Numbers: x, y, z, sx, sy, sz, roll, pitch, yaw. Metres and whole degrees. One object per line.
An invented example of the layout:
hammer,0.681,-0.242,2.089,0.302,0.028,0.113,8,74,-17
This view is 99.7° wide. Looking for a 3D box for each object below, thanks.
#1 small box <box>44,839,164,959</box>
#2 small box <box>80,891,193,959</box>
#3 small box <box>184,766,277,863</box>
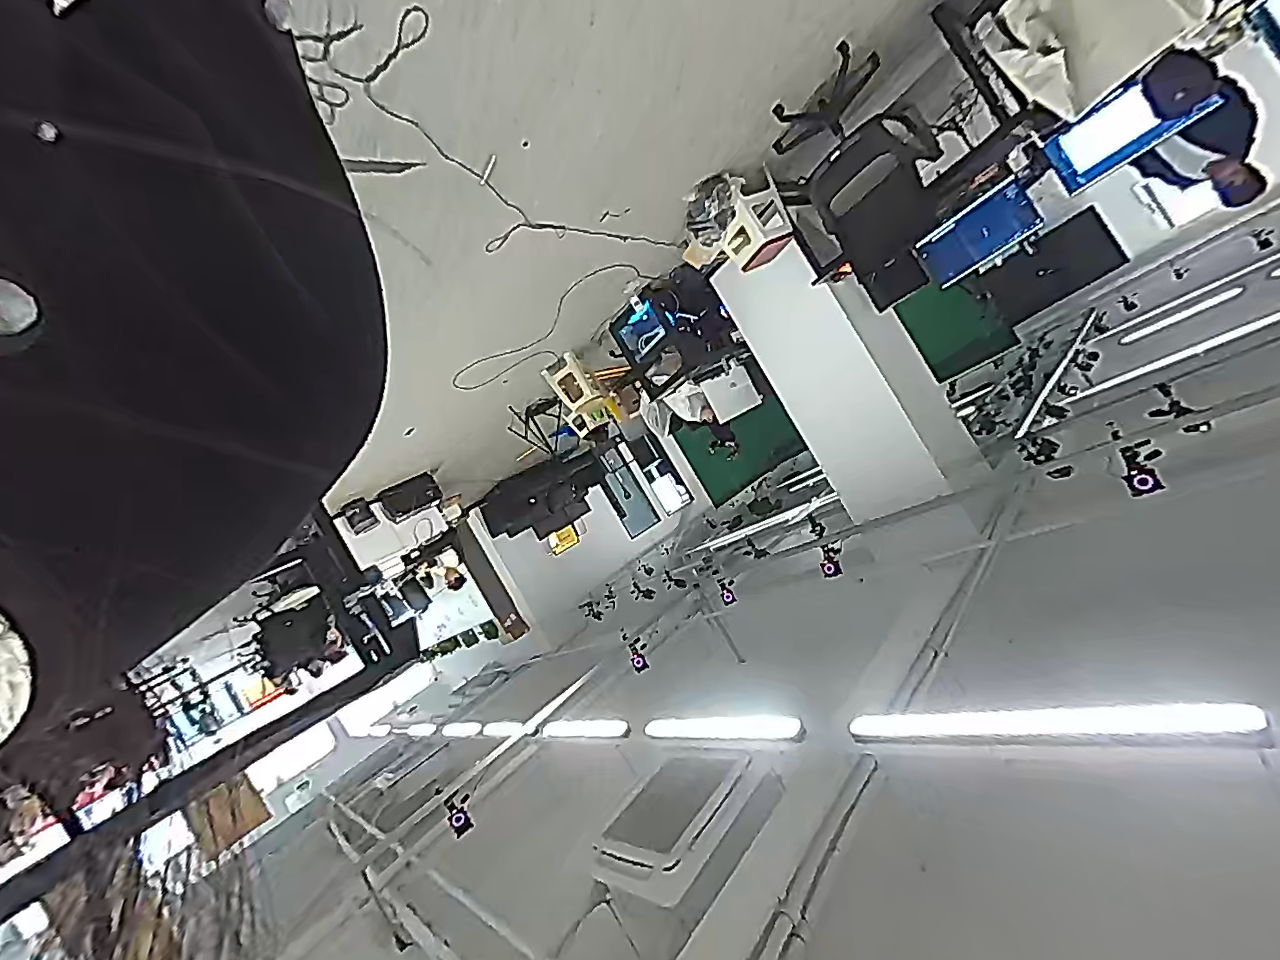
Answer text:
small box,-1.372,1.066,1.394,0.168,0.176,0.179,-31,180,-43
small box,-1.291,1.209,1.392,0.168,0.176,0.179,-29,178,-44
small box,-1.194,0.965,1.577,0.168,0.176,0.179,-29,180,-42
